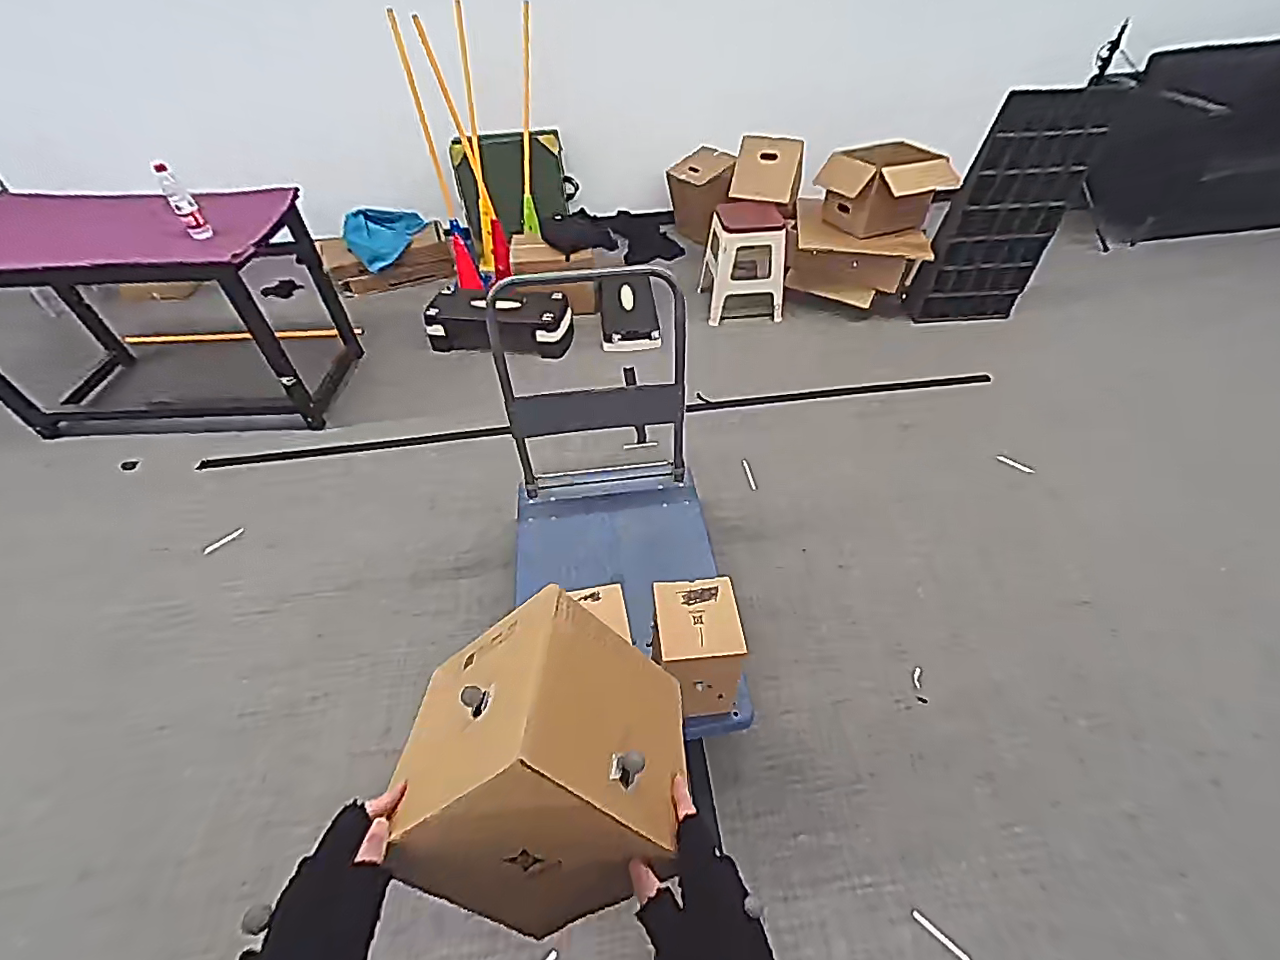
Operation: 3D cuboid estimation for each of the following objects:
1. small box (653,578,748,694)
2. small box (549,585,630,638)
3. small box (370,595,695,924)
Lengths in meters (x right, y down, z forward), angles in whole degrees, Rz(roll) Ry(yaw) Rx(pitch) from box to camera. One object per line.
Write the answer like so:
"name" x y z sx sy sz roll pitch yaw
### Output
"small box" 0.118 0.330 1.142 0.168 0.176 0.179 -4 48 -3
"small box" -0.103 0.347 1.130 0.168 0.176 0.179 -8 48 -7
"small box" -0.077 0.223 0.458 0.168 0.179 0.176 -37 24 18
